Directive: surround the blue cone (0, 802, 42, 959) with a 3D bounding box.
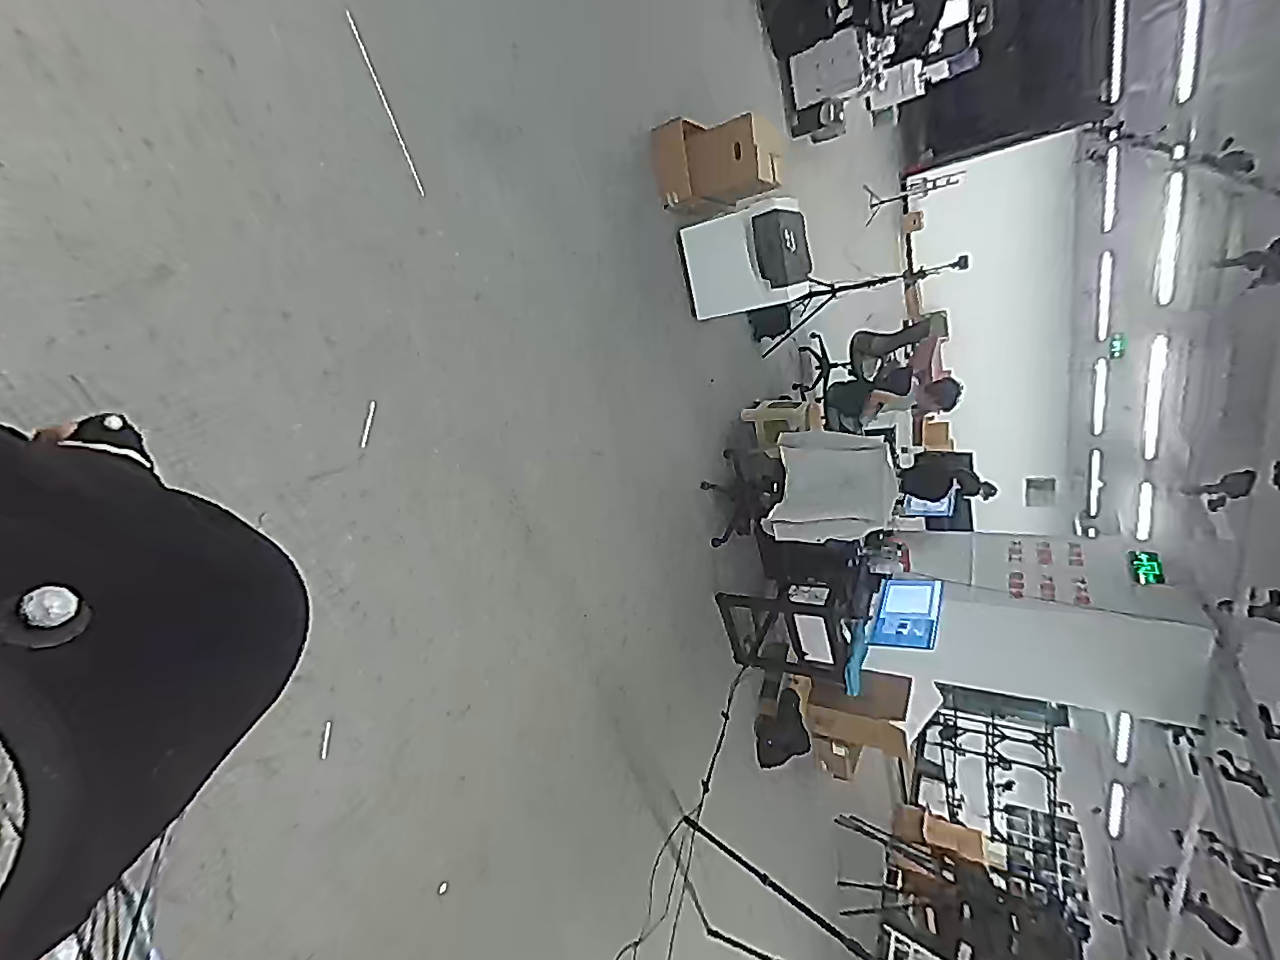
[{"bbox_3d":[-1.058,0.669,0.853,0.193,0.380,0.192,32,62,-53],"label":"blue cone"}]
